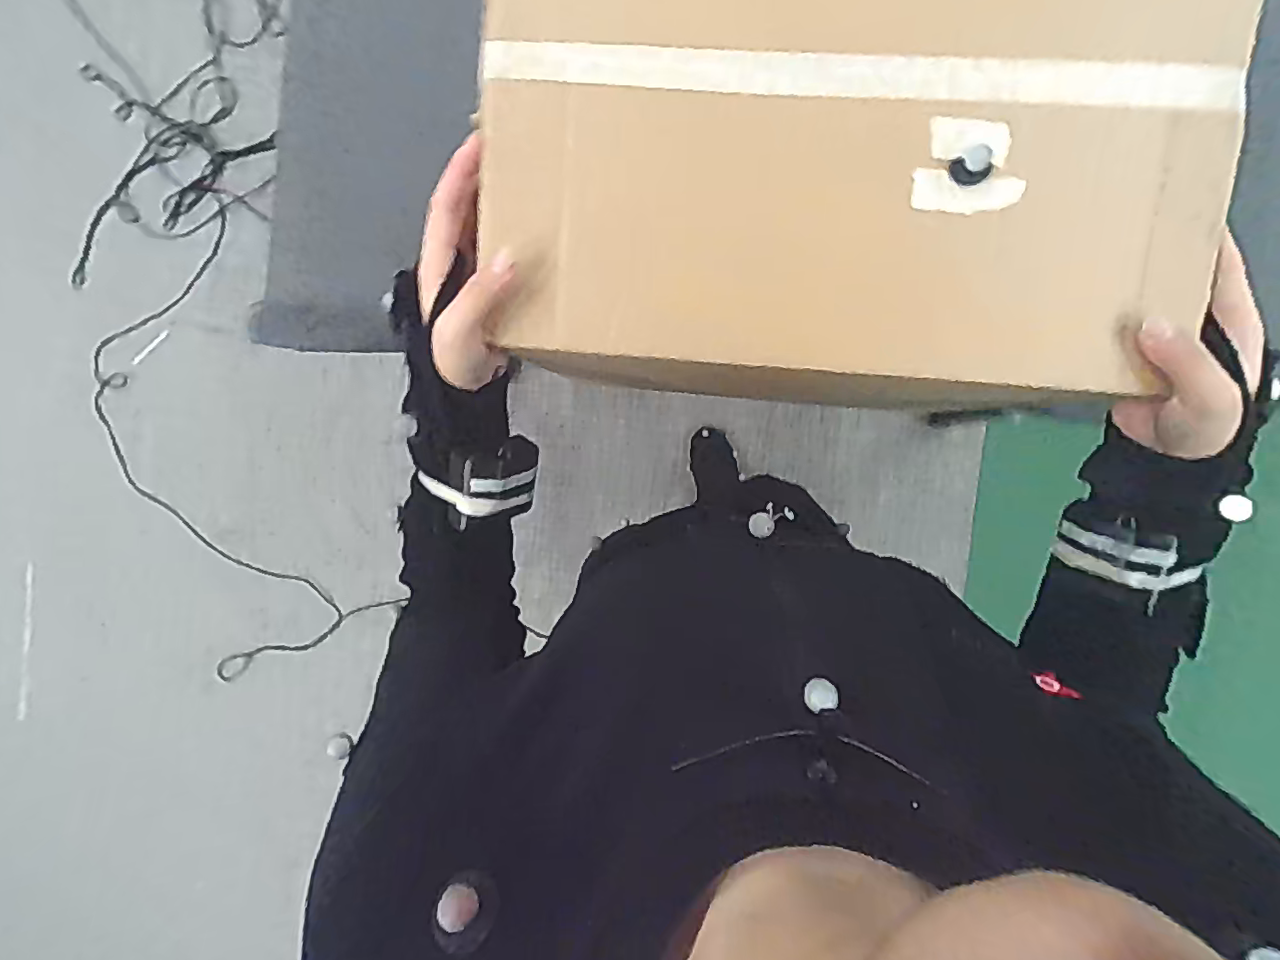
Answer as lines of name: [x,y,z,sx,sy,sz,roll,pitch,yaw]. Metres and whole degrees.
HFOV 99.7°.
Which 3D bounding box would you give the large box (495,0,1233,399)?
large box: [0.121,-0.238,0.453,0.408,0.320,0.320,4,97,2]
